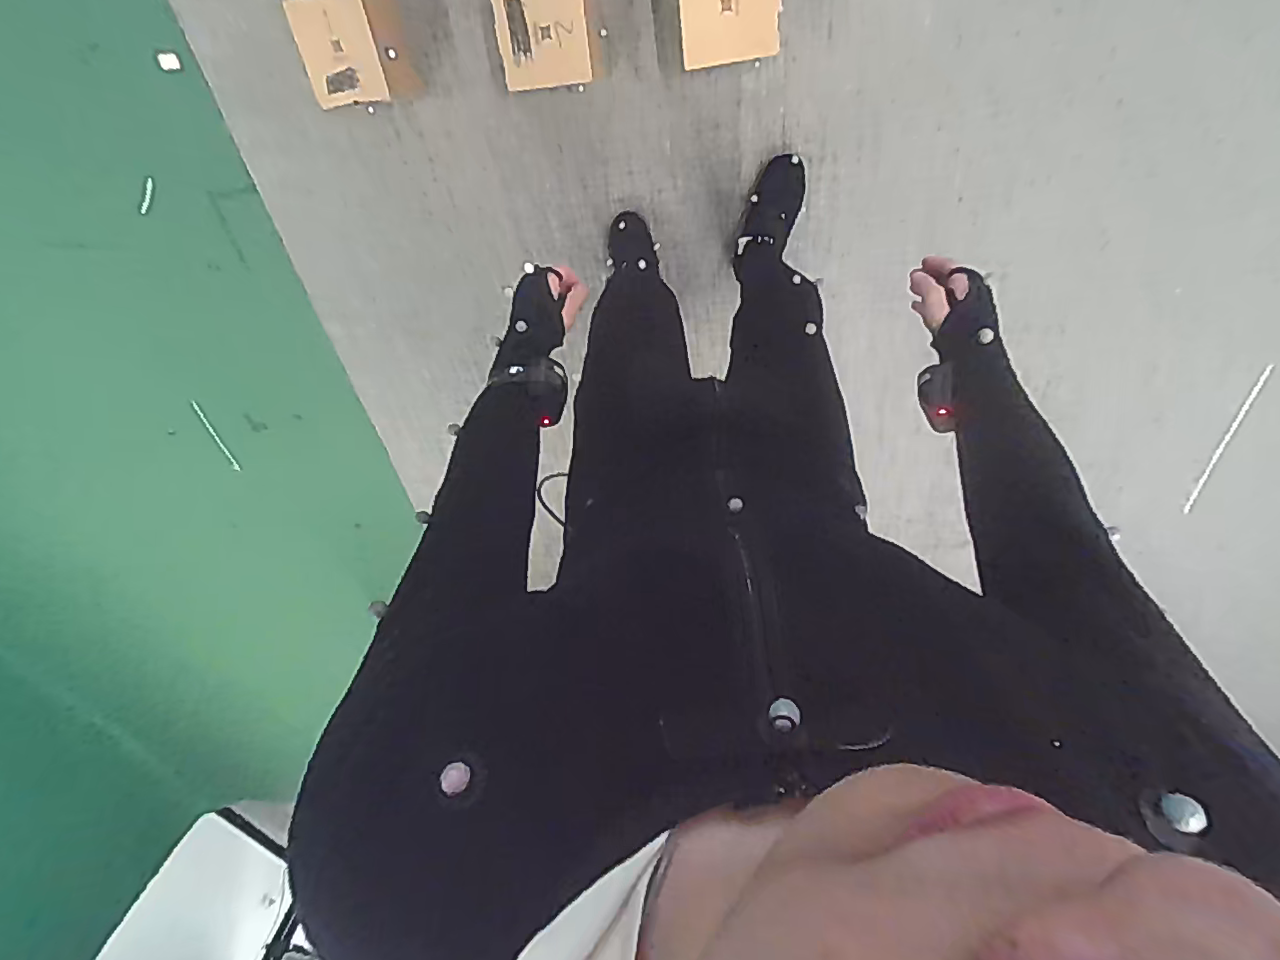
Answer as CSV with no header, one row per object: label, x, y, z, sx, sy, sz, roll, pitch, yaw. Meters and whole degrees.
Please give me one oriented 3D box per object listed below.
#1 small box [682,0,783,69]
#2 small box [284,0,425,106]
small box,0.171,-0.880,1.005,0.179,0.176,0.168,-2,126,11
small box,-0.577,-0.894,1.122,0.168,0.176,0.179,0,126,10
